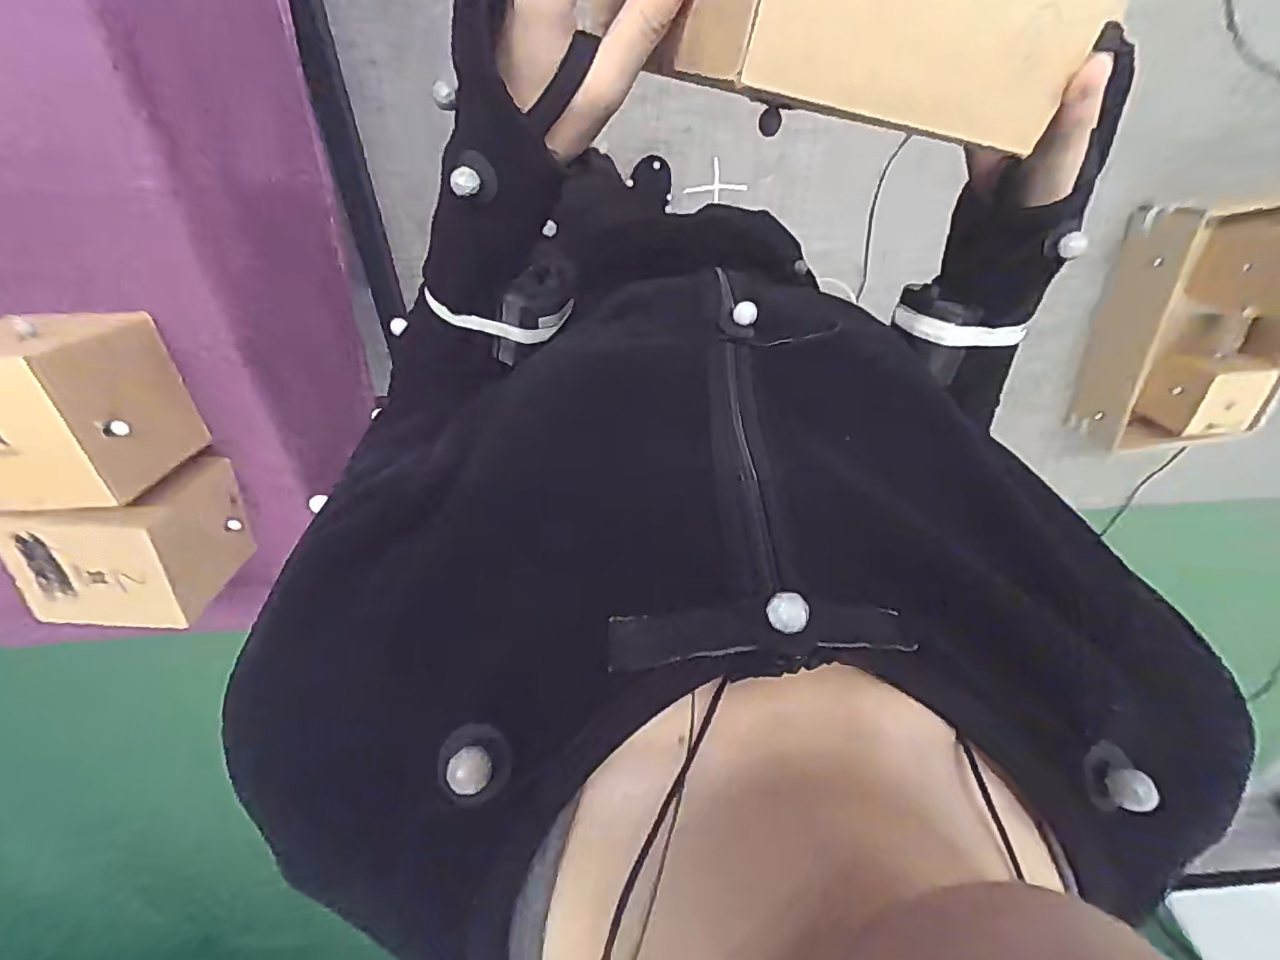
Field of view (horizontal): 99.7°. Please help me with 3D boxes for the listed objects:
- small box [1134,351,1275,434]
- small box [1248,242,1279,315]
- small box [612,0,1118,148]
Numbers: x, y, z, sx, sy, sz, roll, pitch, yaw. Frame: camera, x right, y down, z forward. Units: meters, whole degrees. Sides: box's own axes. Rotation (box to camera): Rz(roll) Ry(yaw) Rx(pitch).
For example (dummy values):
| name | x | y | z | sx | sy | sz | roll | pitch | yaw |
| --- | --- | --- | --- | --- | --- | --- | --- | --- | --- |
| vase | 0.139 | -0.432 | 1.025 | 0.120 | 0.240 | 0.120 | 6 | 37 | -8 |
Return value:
| name | x | y | z | sx | sy | sz | roll | pitch | yaw |
| --- | --- | --- | --- | --- | --- | --- | --- | --- | --- |
| small box | 1.497 | -0.241 | 1.451 | 0.168 | 0.176 | 0.179 | -4 | 122 | 0 |
| small box | 1.468 | -0.434 | 1.134 | 0.168 | 0.176 | 0.179 | -4 | 124 | 2 |
| small box | 0.095 | -0.264 | 0.221 | 0.168 | 0.176 | 0.179 | -5 | 130 | -26 |
